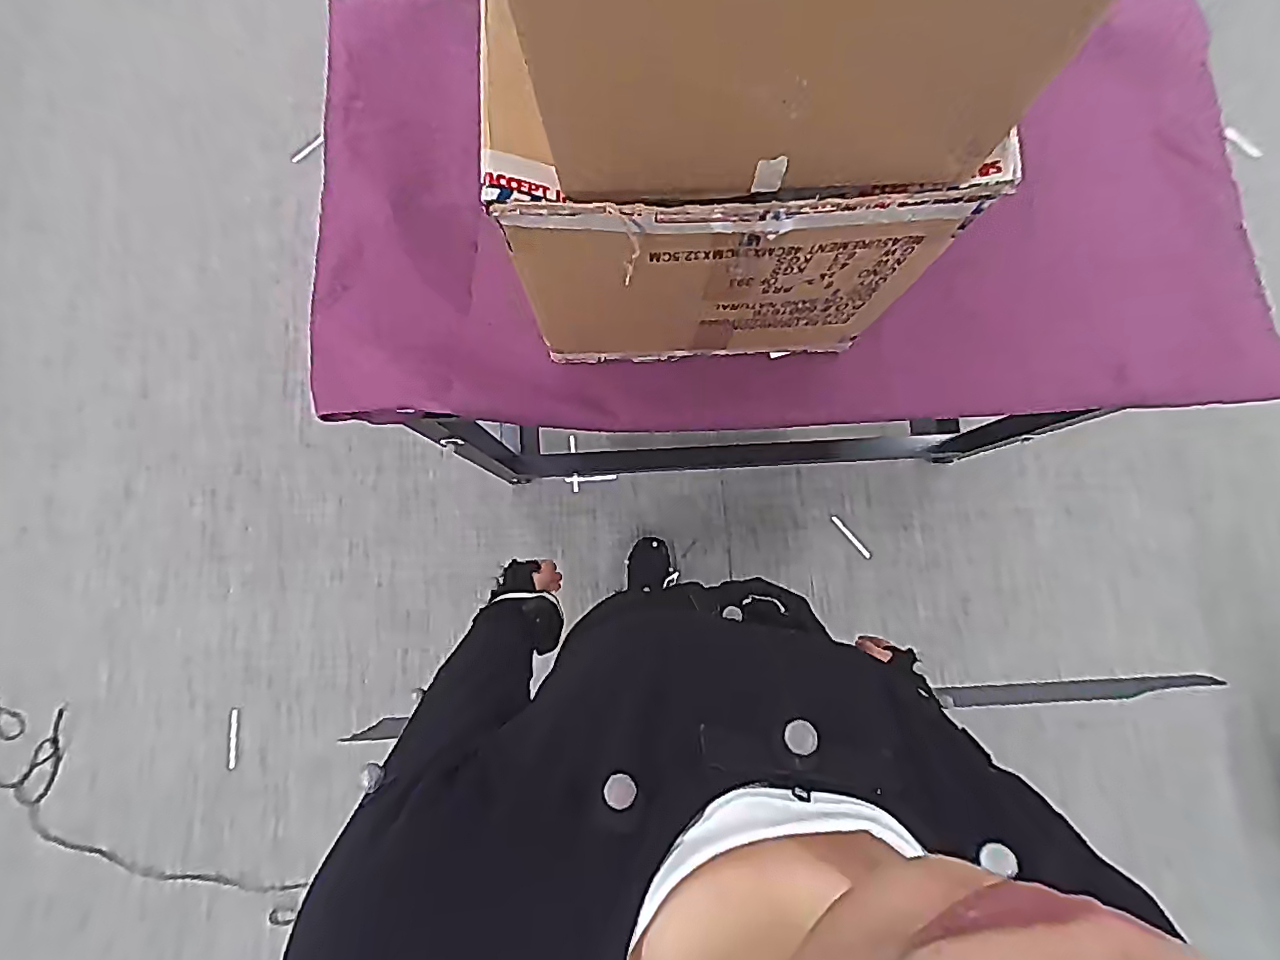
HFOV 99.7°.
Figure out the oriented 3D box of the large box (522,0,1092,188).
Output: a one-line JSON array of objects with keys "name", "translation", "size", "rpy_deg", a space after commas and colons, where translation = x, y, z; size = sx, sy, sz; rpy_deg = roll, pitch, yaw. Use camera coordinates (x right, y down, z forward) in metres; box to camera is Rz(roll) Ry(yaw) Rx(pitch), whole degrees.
[{"name": "large box", "translation": [0.081, -0.445, 0.289], "size": [0.320, 0.320, 0.408], "rpy_deg": [-2, 82, 4]}]
